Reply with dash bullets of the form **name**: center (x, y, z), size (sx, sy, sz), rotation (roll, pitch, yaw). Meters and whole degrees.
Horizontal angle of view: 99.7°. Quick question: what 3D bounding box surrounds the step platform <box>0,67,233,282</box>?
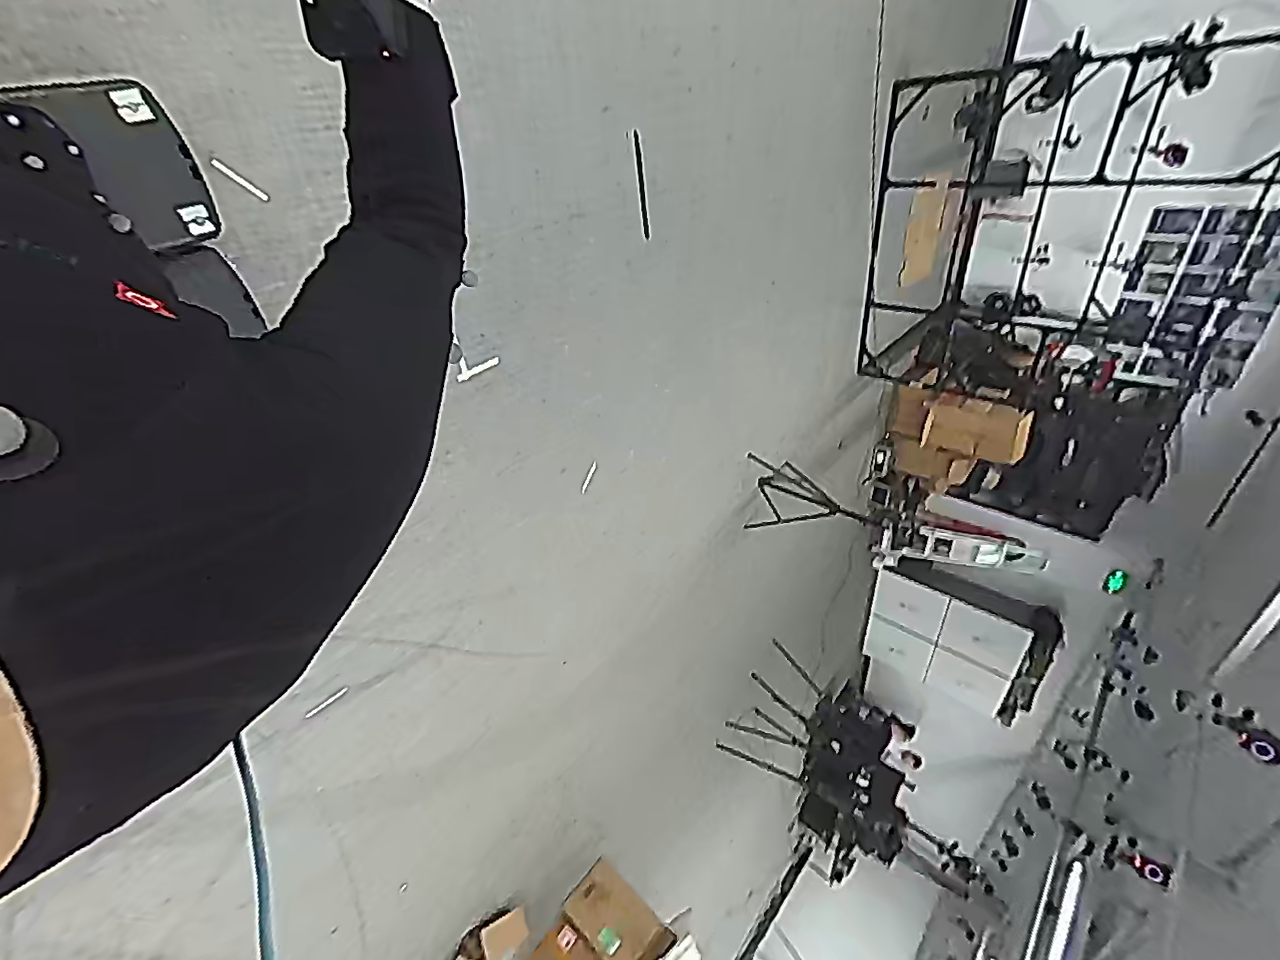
- **step platform**: center (-1.156, -0.528, 0.965), size (0.684, 0.204, 0.286), rotation (-39, 135, -33)
